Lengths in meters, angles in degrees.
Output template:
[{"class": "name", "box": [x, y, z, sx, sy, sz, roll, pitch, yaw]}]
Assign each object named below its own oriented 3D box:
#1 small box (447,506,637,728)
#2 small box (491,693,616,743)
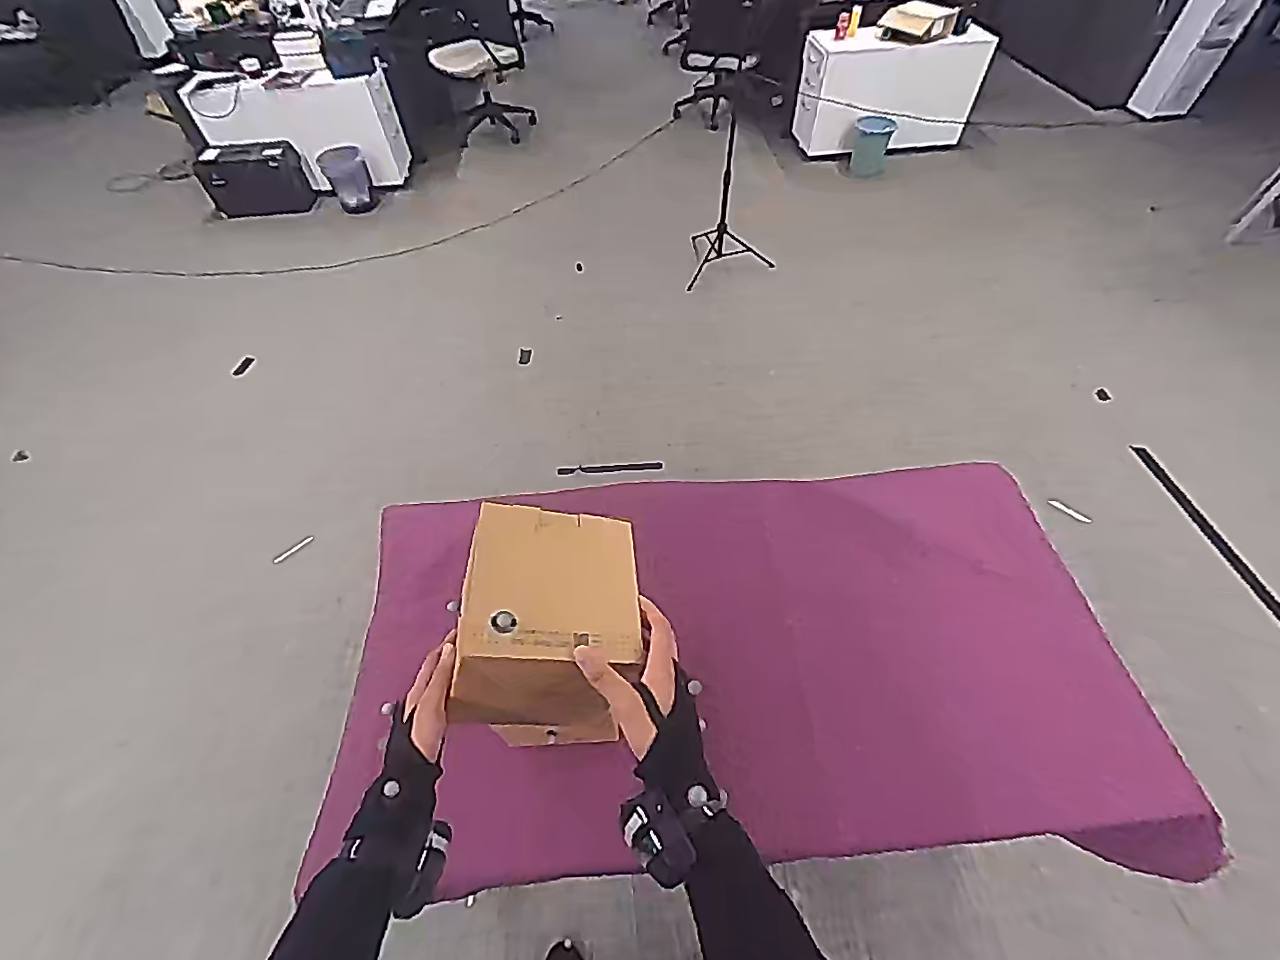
[{"class": "small box", "box": [-0.107, 0.154, 0.585, 0.168, 0.179, 0.176, 10, 45, -16]}, {"class": "small box", "box": [-0.121, 0.281, 0.798, 0.168, 0.176, 0.179, -2, 53, -1]}]
